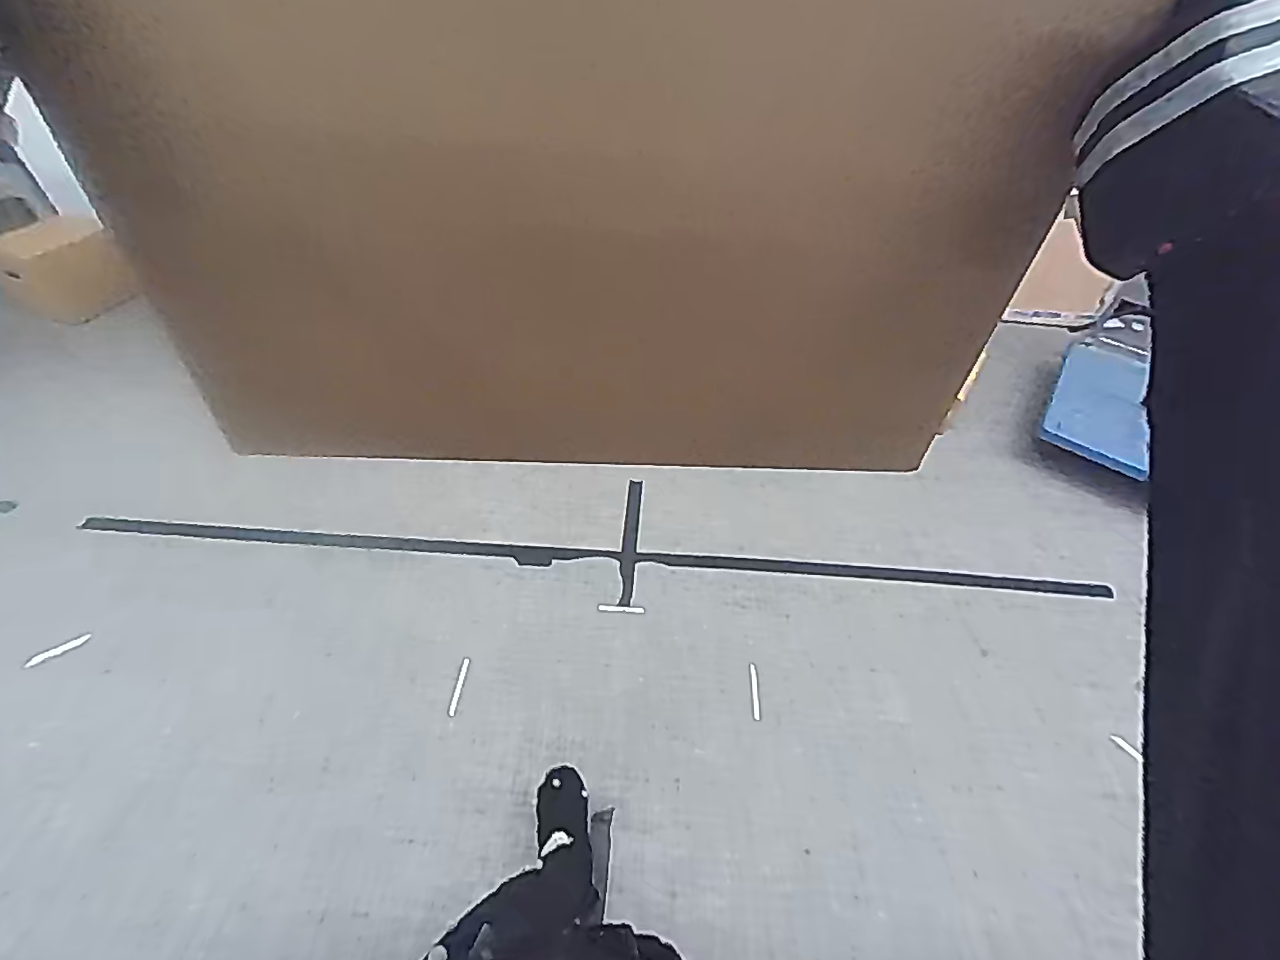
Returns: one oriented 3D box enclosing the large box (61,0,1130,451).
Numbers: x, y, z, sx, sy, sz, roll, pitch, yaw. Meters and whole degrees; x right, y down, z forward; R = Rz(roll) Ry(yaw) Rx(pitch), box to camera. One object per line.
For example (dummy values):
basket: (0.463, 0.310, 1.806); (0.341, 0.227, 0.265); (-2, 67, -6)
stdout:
large box: (-0.022, -0.231, 0.346); (0.408, 0.320, 0.320); (2, 43, -6)
